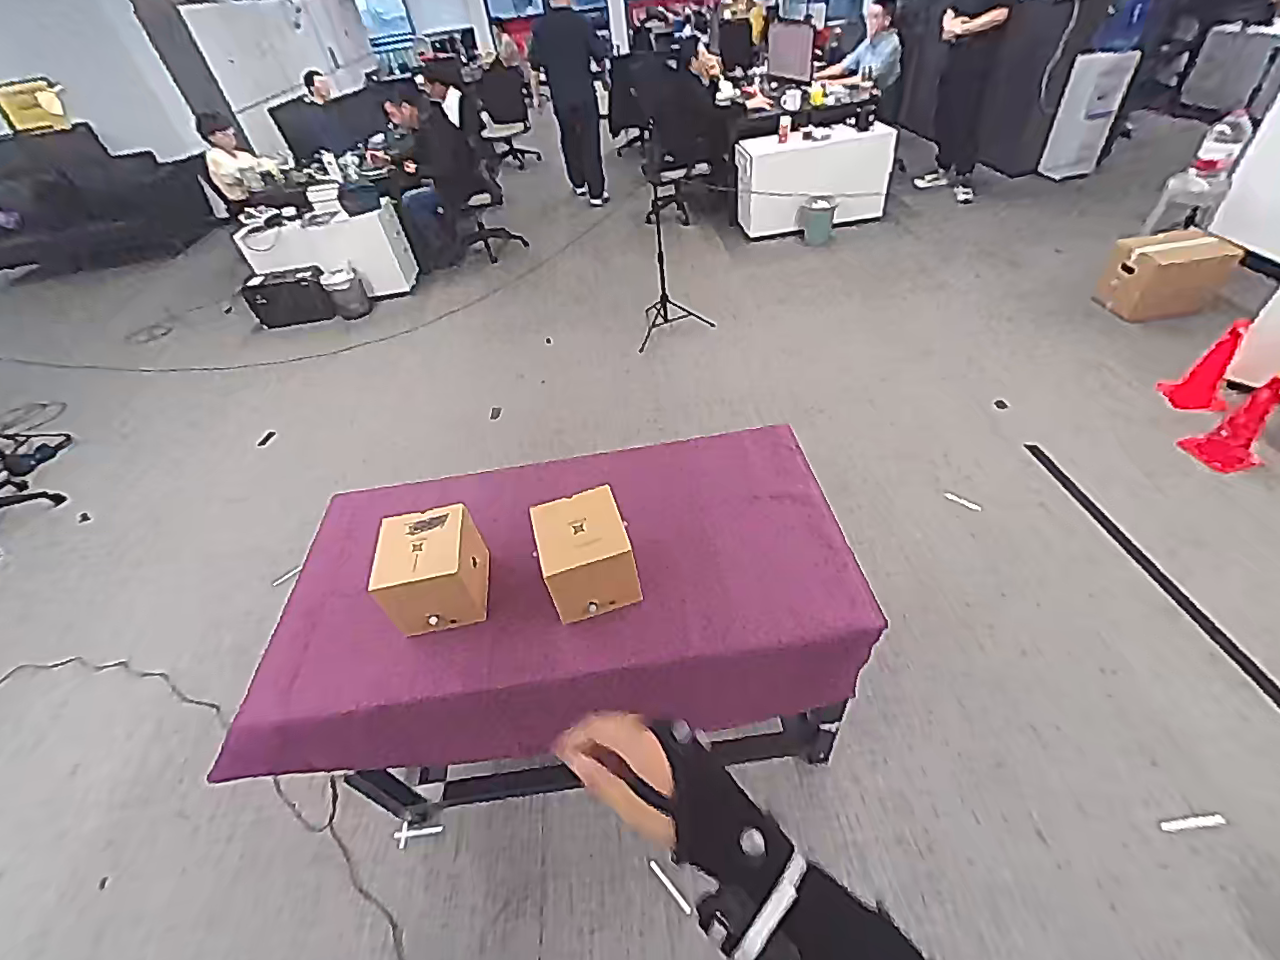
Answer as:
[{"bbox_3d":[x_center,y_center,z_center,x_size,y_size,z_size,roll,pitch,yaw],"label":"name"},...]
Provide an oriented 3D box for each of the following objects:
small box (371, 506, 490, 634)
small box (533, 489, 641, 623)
[{"bbox_3d":[-0.408,0.181,1.089,0.168,0.176,0.179,-11,44,-2],"label":"small box"},{"bbox_3d":[-0.104,0.150,1.072,0.168,0.176,0.179,-16,44,-7],"label":"small box"}]
